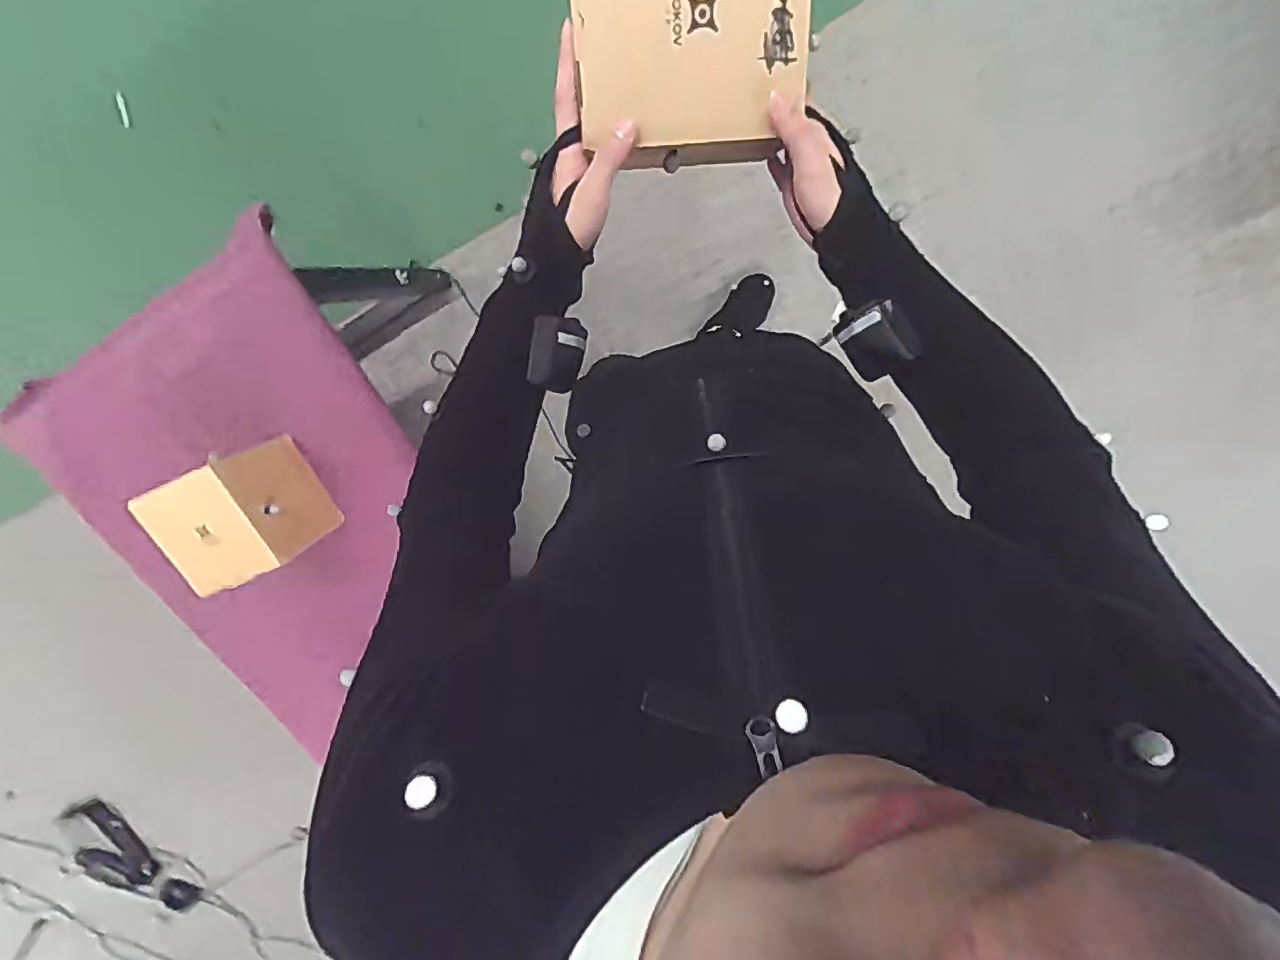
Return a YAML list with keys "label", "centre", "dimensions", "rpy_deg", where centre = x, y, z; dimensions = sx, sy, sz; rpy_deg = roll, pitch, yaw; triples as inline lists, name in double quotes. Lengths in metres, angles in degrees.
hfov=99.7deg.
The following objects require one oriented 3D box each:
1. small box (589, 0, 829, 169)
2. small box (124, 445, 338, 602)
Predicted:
- label: "small box"
  centre: [0.053, -0.373, 0.466]
  dimensions: [0.179, 0.176, 0.168]
  rpy_deg: [-1, 115, 2]
- label: "small box"
  centre: [-0.637, 0.059, 0.867]
  dimensions: [0.168, 0.176, 0.179]
  rpy_deg: [-21, 109, 10]
